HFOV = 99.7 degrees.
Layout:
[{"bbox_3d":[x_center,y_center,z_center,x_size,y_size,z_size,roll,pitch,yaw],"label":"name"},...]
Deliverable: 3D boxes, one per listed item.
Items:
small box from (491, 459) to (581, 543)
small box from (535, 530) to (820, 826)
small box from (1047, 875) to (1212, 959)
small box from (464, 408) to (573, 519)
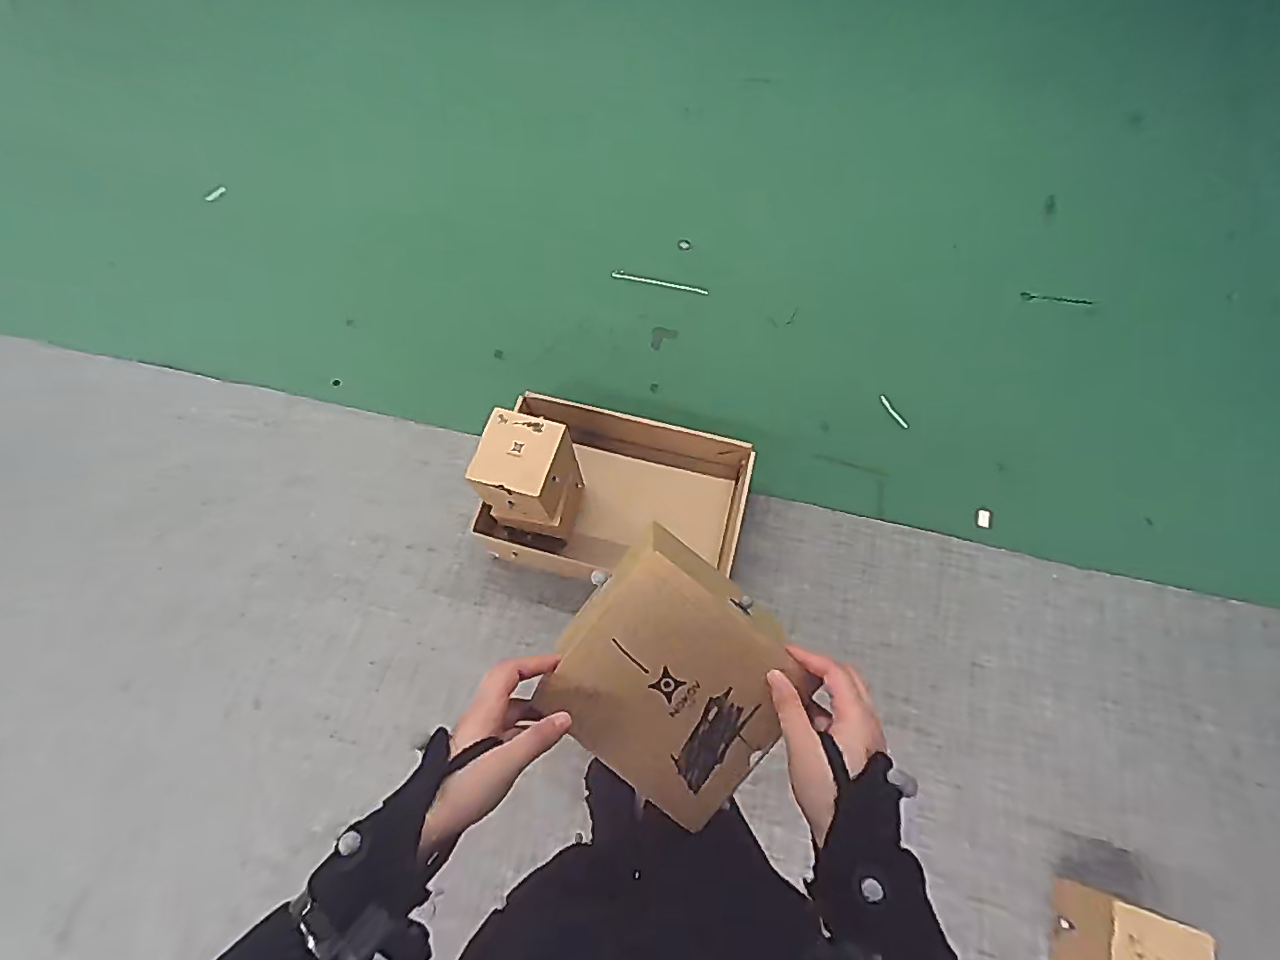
[{"bbox_3d":[-0.247,0.042,1.341,0.168,0.176,0.179,10,71,5],"label":"small box"},{"bbox_3d":[0.033,0.166,0.517,0.179,0.176,0.168,39,94,-1],"label":"small box"},{"bbox_3d":[0.944,0.909,1.052,0.179,0.176,0.168,17,70,7],"label":"small box"},{"bbox_3d":[-0.256,-0.029,1.192,0.168,0.176,0.179,15,71,7],"label":"small box"}]
